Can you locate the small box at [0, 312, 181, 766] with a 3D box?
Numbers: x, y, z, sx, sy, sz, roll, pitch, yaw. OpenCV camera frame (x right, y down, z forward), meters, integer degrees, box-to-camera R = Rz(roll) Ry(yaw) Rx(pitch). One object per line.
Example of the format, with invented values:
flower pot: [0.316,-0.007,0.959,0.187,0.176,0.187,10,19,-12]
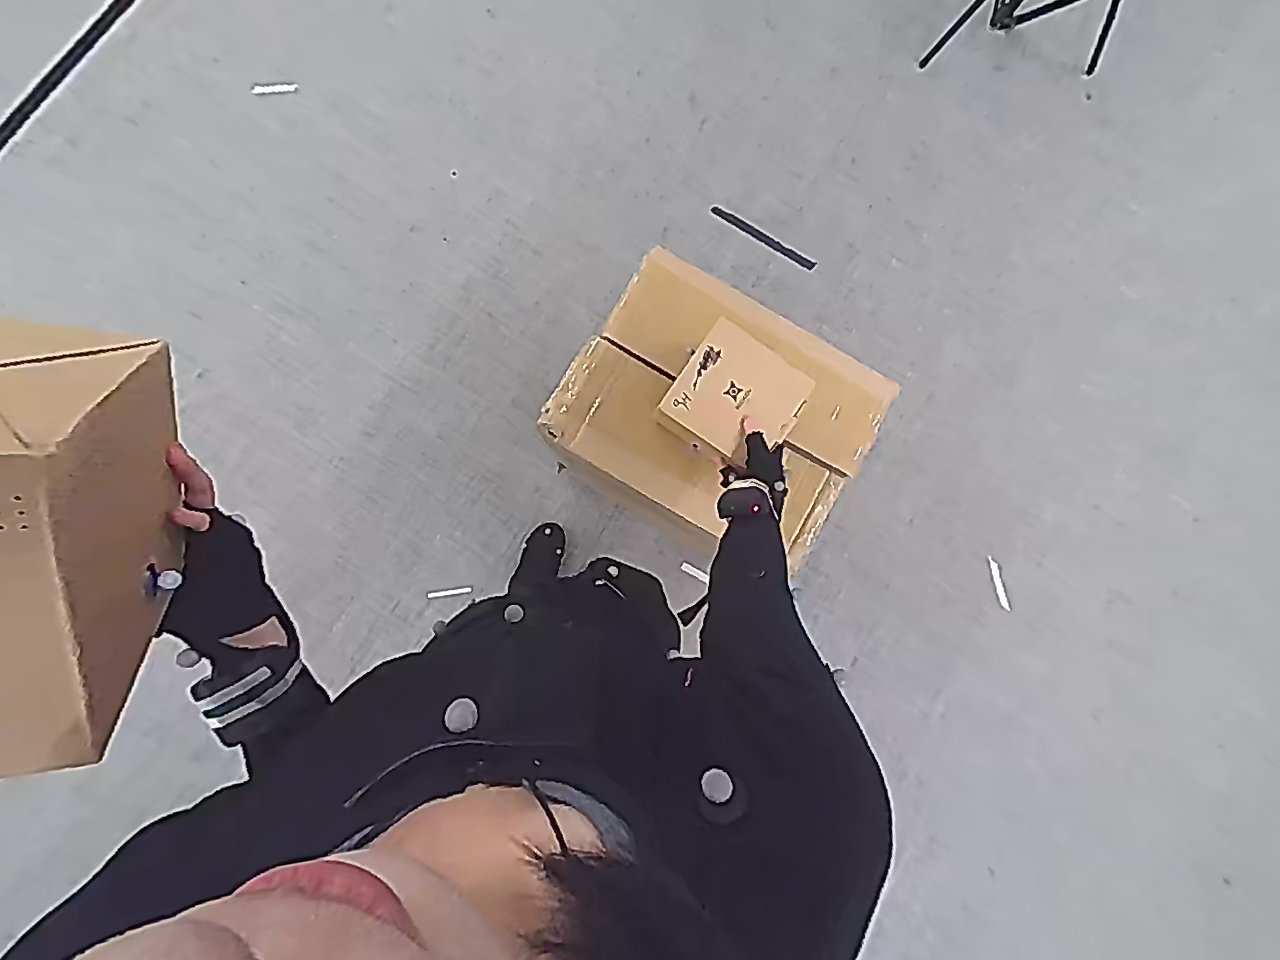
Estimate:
small box: [-0.348,0.016,0.257,0.168,0.179,0.176,1,116,-27]

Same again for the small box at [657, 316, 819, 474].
small box: [0.143,-0.127,0.859,0.179,0.176,0.168,35,91,-2]
